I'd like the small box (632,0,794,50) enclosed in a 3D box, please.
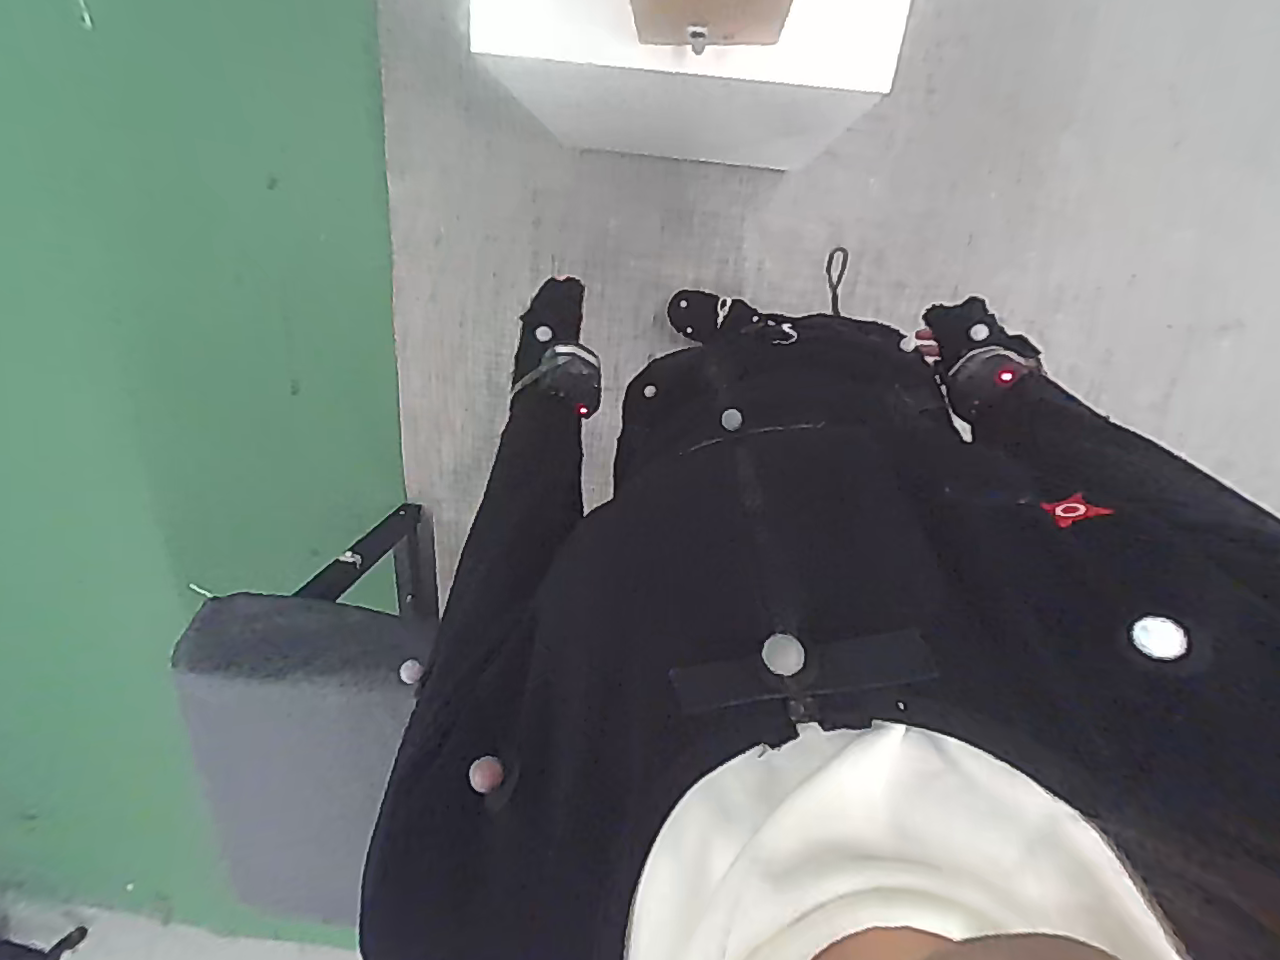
[{"bbox_3d":[0.073,-0.558,0.528,0.168,0.176,0.179,3,112,6],"label":"small box"}]
